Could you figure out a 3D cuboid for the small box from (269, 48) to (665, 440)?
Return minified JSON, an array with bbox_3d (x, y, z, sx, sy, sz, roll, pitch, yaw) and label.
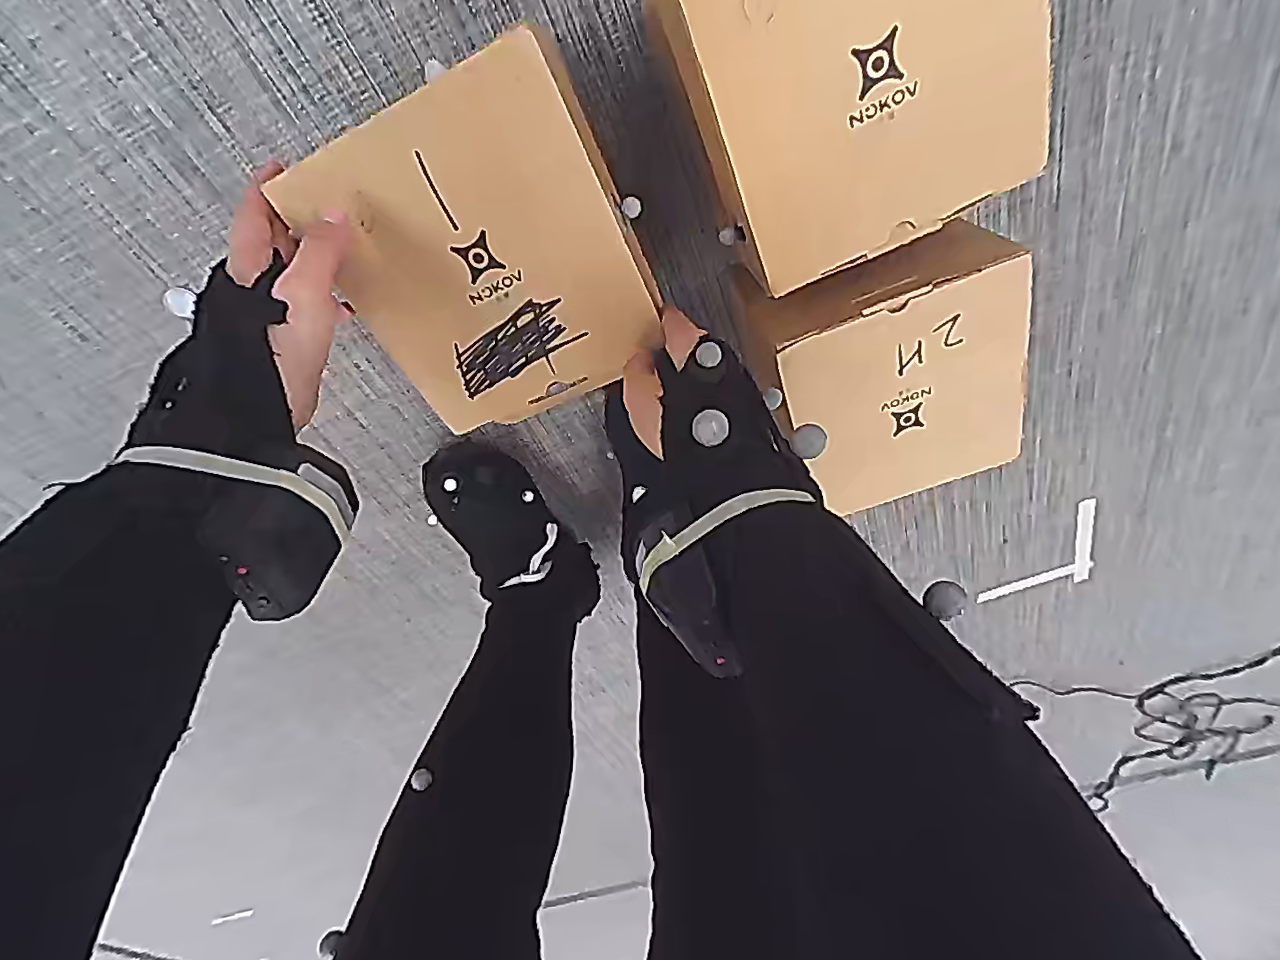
[{"bbox_3d":[-0.093,-0.164,0.380,0.168,0.176,0.179,-21,125,11],"label":"small box"}]
